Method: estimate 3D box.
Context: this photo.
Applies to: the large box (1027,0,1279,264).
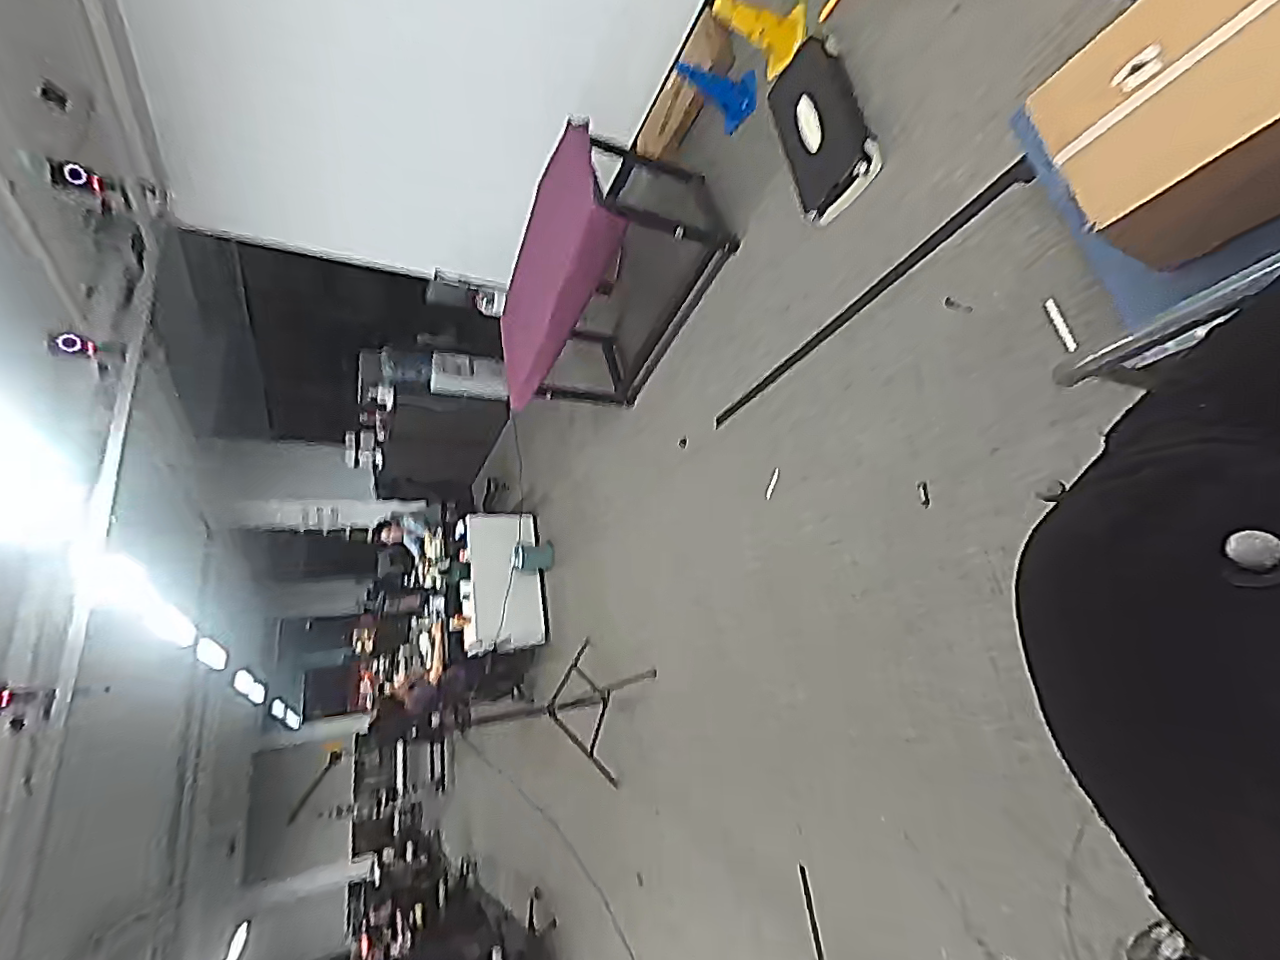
[{"bbox_3d":[0.943,-0.617,0.839,0.408,0.320,0.320,-39,54,55],"label":"large box"}]
